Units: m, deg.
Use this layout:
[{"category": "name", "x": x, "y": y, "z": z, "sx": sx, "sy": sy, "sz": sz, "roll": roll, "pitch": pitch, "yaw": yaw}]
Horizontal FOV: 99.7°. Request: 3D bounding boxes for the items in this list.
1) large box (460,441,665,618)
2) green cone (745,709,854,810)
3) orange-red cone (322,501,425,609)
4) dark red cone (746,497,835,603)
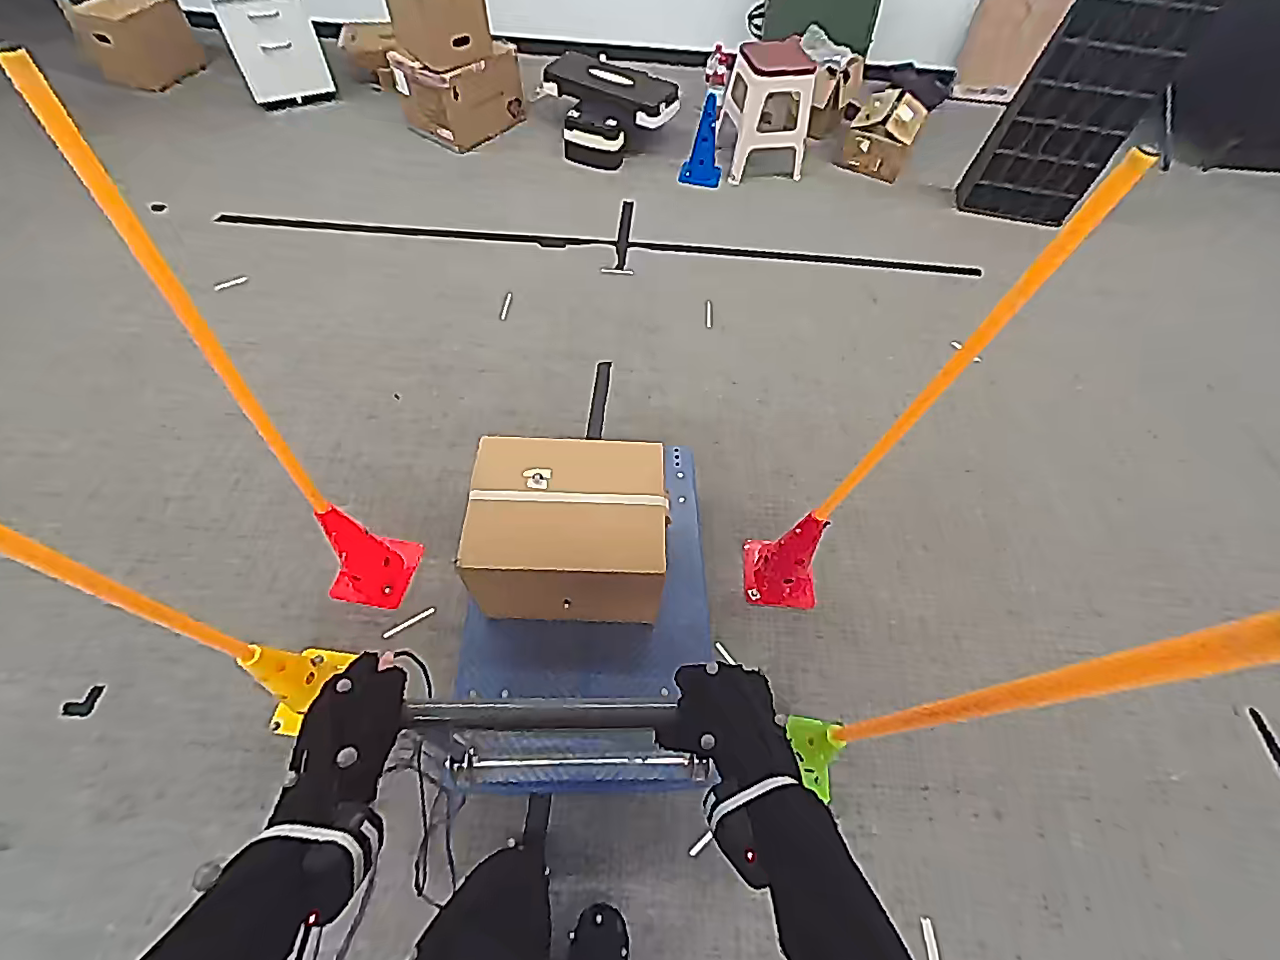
[{"category": "large box", "x": -0.152, "y": 0.125, "z": 1.252, "sx": 0.408, "sy": 0.320, "sz": 0.320, "roll": 2, "pitch": 58, "yaw": -1}, {"category": "green cone", "x": 0.364, "y": 0.576, "z": 1.159, "sx": 0.202, "sy": 0.368, "sz": 0.200, "roll": 8, "pitch": 57, "yaw": 1}, {"category": "orange-red cone", "x": -0.717, "y": 0.158, "z": 1.375, "sx": 0.198, "sy": 0.360, "sz": 0.199, "roll": 11, "pitch": 56, "yaw": 3}, {"category": "dark red cone", "x": 0.417, "y": 0.163, "z": 1.408, "sx": 0.201, "sy": 0.394, "sz": 0.202, "roll": 6, "pitch": 57, "yaw": -2}]
